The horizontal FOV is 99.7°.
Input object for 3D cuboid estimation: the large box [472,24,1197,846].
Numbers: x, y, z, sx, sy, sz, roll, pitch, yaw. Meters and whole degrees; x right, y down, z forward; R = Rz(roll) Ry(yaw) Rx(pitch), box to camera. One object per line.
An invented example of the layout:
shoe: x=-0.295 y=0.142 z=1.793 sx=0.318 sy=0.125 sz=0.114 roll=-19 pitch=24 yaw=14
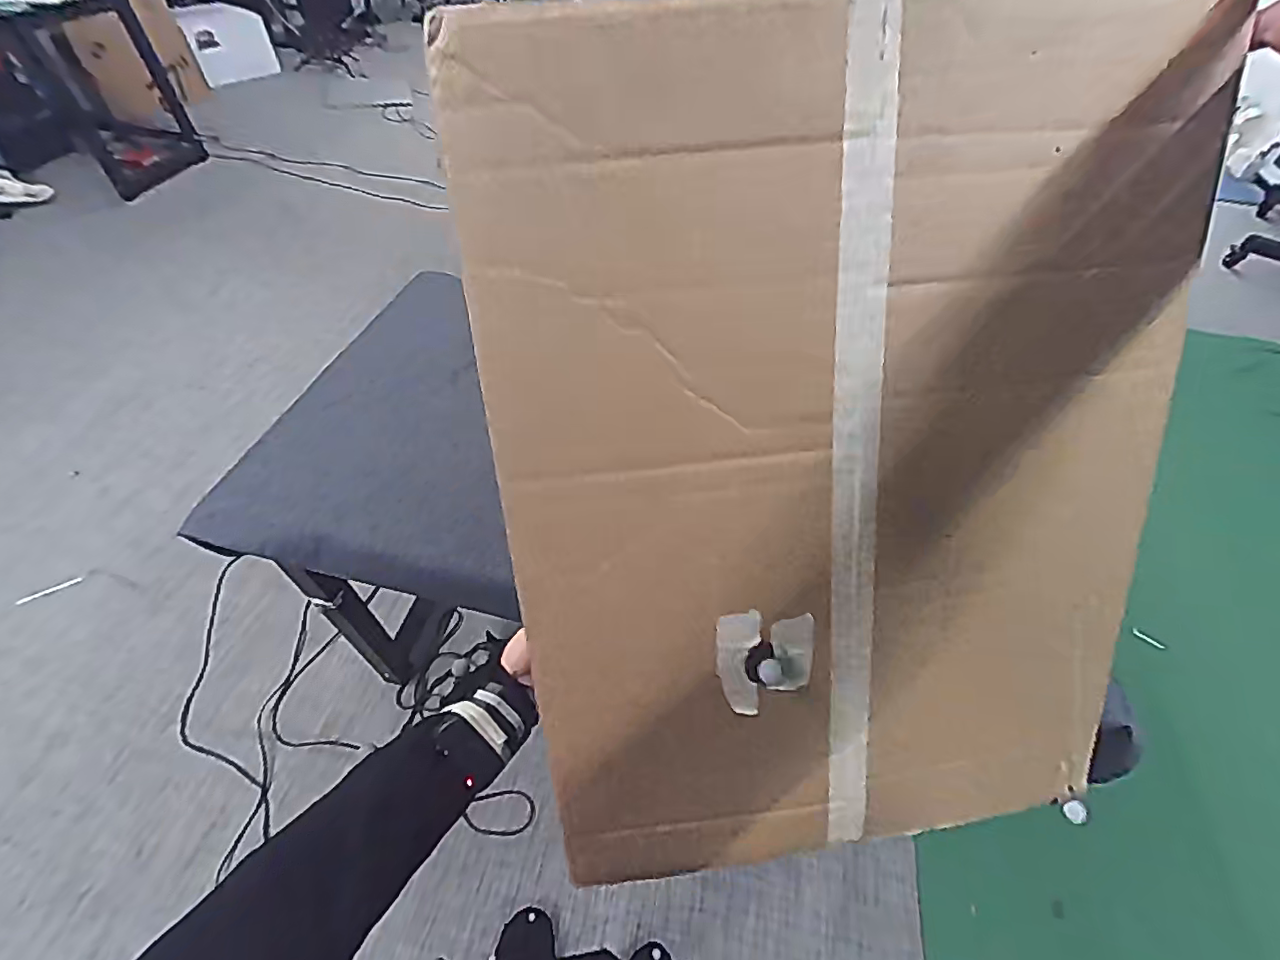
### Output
large box: x=0.087 y=-0.033 z=0.416 sx=0.320 sy=0.408 sz=0.320 roll=-8 pitch=20 yaw=-5
